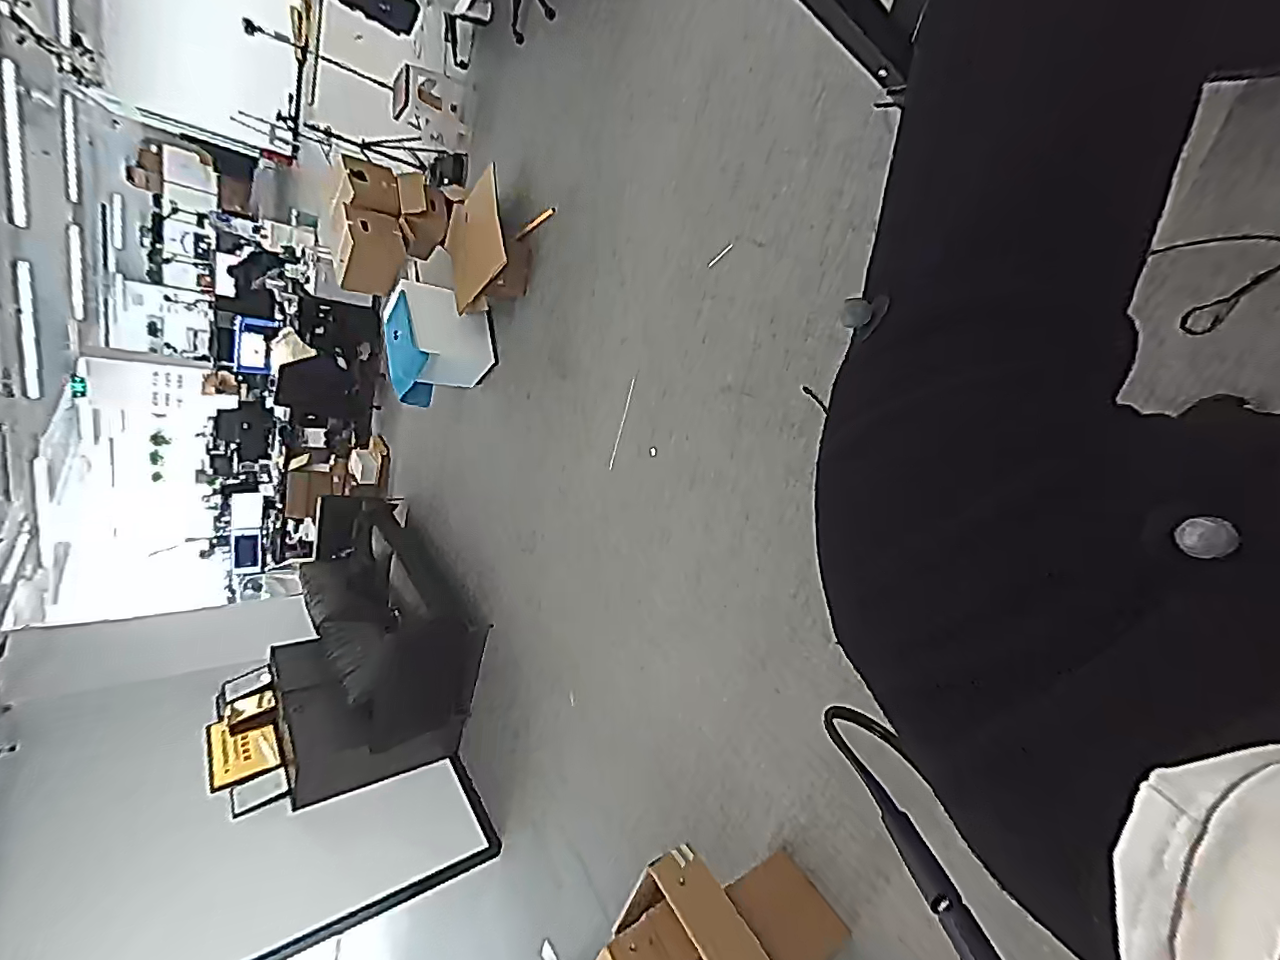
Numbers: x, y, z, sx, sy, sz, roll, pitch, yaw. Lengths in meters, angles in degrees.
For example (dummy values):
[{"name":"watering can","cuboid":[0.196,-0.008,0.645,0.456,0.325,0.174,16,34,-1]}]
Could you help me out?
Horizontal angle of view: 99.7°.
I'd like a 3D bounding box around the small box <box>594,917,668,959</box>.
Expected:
[{"name":"small box","cuboid":[-0.026,1.460,1.604,0.168,0.176,0.179,42,120,42]}]
